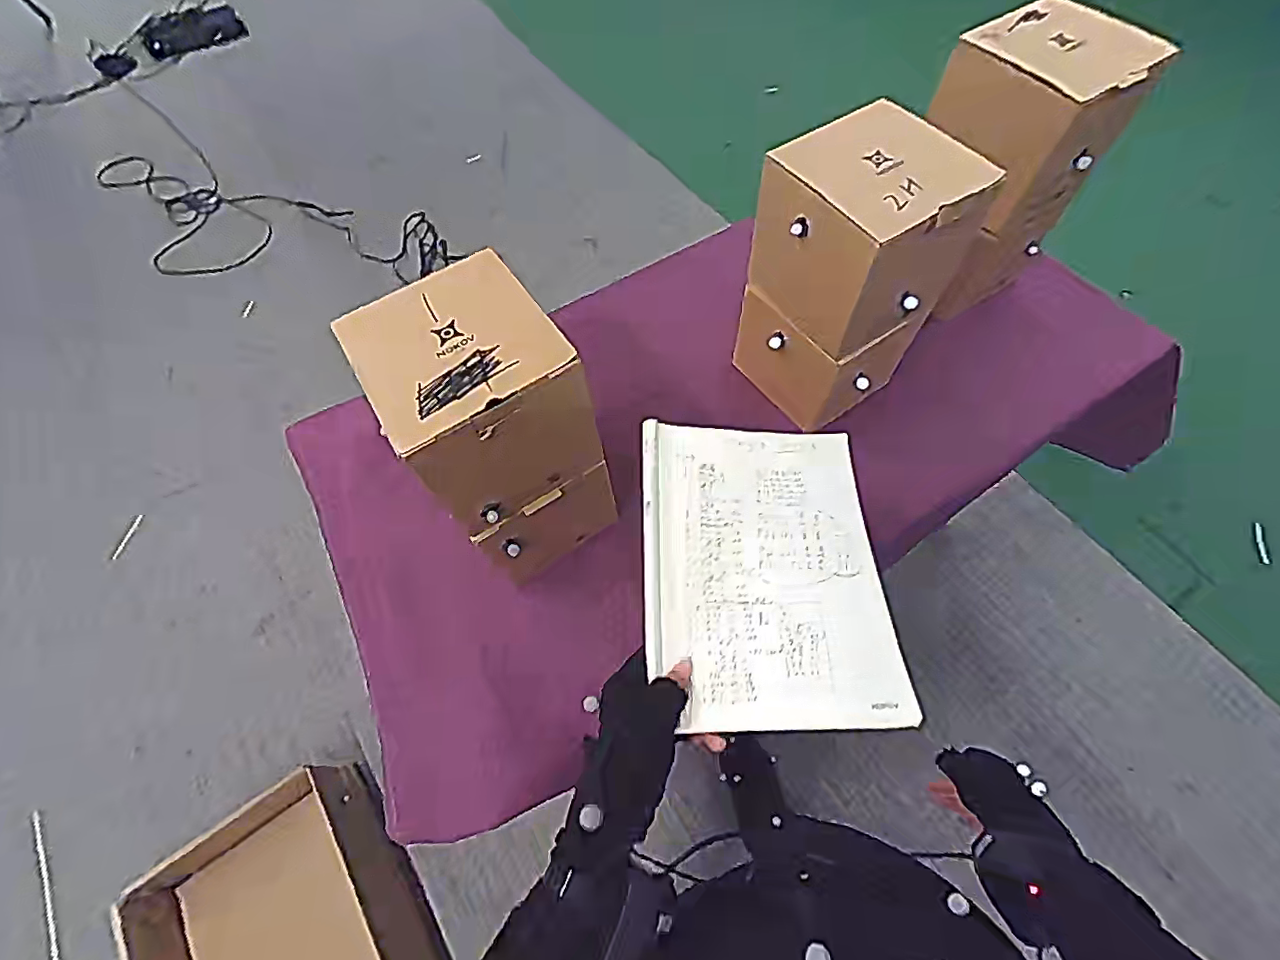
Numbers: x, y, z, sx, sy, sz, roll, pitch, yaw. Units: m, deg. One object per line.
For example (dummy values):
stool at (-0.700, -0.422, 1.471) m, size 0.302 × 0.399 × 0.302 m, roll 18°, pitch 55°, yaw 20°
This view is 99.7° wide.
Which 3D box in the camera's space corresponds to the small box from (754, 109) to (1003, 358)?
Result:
small box at (0.251, -0.276, 0.623) m, size 0.168 × 0.176 × 0.179 m, roll -30°, pitch 65°, yaw -11°

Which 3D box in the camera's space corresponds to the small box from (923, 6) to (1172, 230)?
small box at (0.494, -0.455, 0.701) m, size 0.168 × 0.176 × 0.179 m, roll -30°, pitch 66°, yaw -13°

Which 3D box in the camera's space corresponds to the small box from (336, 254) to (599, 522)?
small box at (-0.157, -0.079, 0.540) m, size 0.168 × 0.176 × 0.179 m, roll -31°, pitch 63°, yaw -13°

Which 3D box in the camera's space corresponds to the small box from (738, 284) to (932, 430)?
small box at (0.260, -0.194, 0.766) m, size 0.168 × 0.176 × 0.179 m, roll -32°, pitch 65°, yaw -13°

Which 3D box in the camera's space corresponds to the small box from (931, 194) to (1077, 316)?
small box at (0.506, -0.384, 0.848) m, size 0.168 × 0.176 × 0.179 m, roll -29°, pitch 65°, yaw -12°
